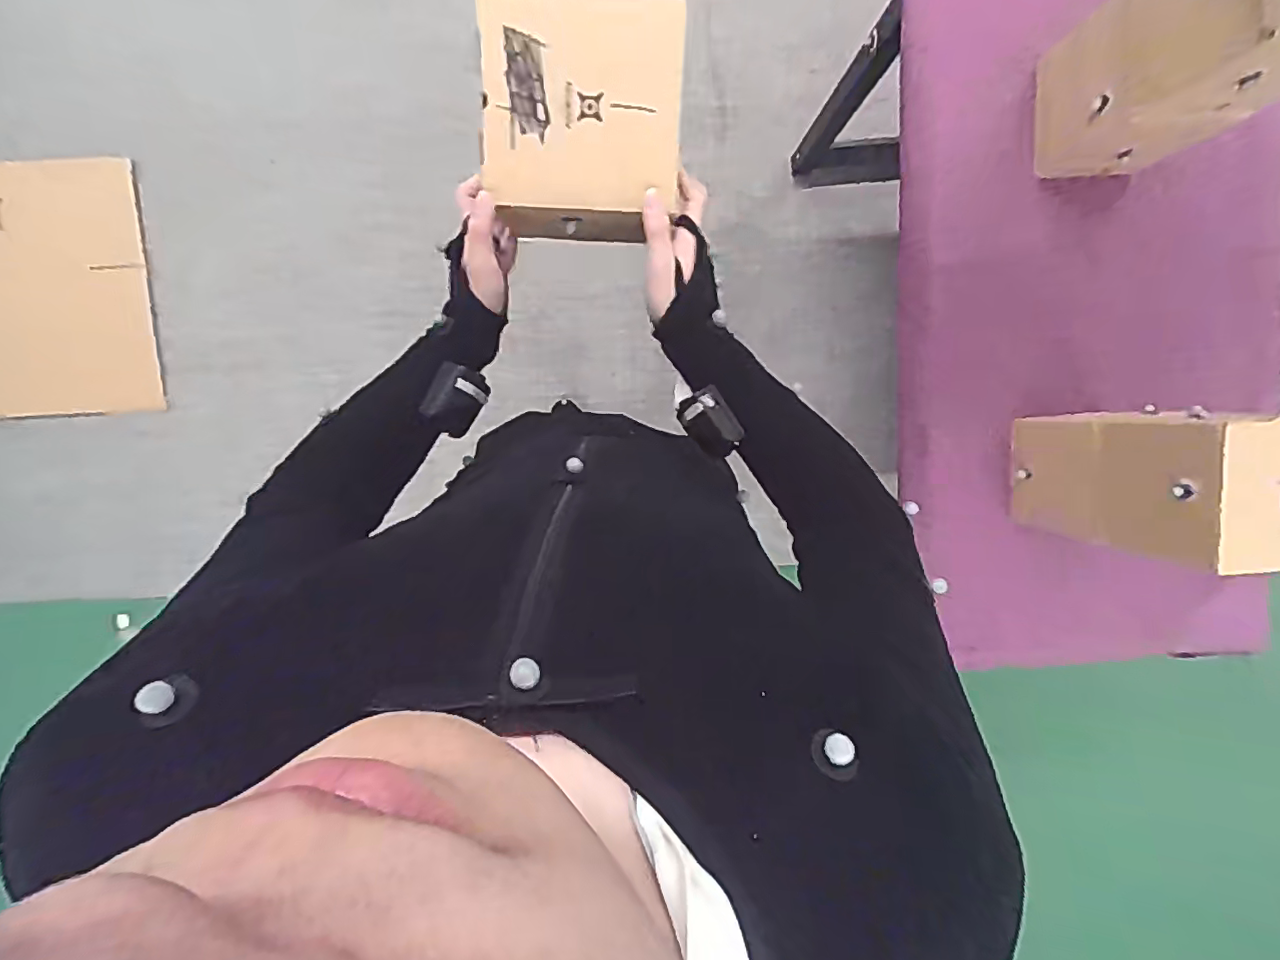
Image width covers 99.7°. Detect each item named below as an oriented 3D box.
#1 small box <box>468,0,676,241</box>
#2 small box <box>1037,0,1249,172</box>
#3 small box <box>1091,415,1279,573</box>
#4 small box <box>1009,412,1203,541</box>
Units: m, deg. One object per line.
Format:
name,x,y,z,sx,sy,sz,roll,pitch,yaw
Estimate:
small box,-0.060,-0.345,0.545,0.179,0.176,0.168,2,105,-2
small box,0.712,-0.563,0.777,0.168,0.176,0.179,-3,97,-1
small box,0.718,0.007,0.682,0.168,0.176,0.179,-3,97,0
small box,0.713,-0.013,0.845,0.168,0.176,0.179,-4,97,-1
